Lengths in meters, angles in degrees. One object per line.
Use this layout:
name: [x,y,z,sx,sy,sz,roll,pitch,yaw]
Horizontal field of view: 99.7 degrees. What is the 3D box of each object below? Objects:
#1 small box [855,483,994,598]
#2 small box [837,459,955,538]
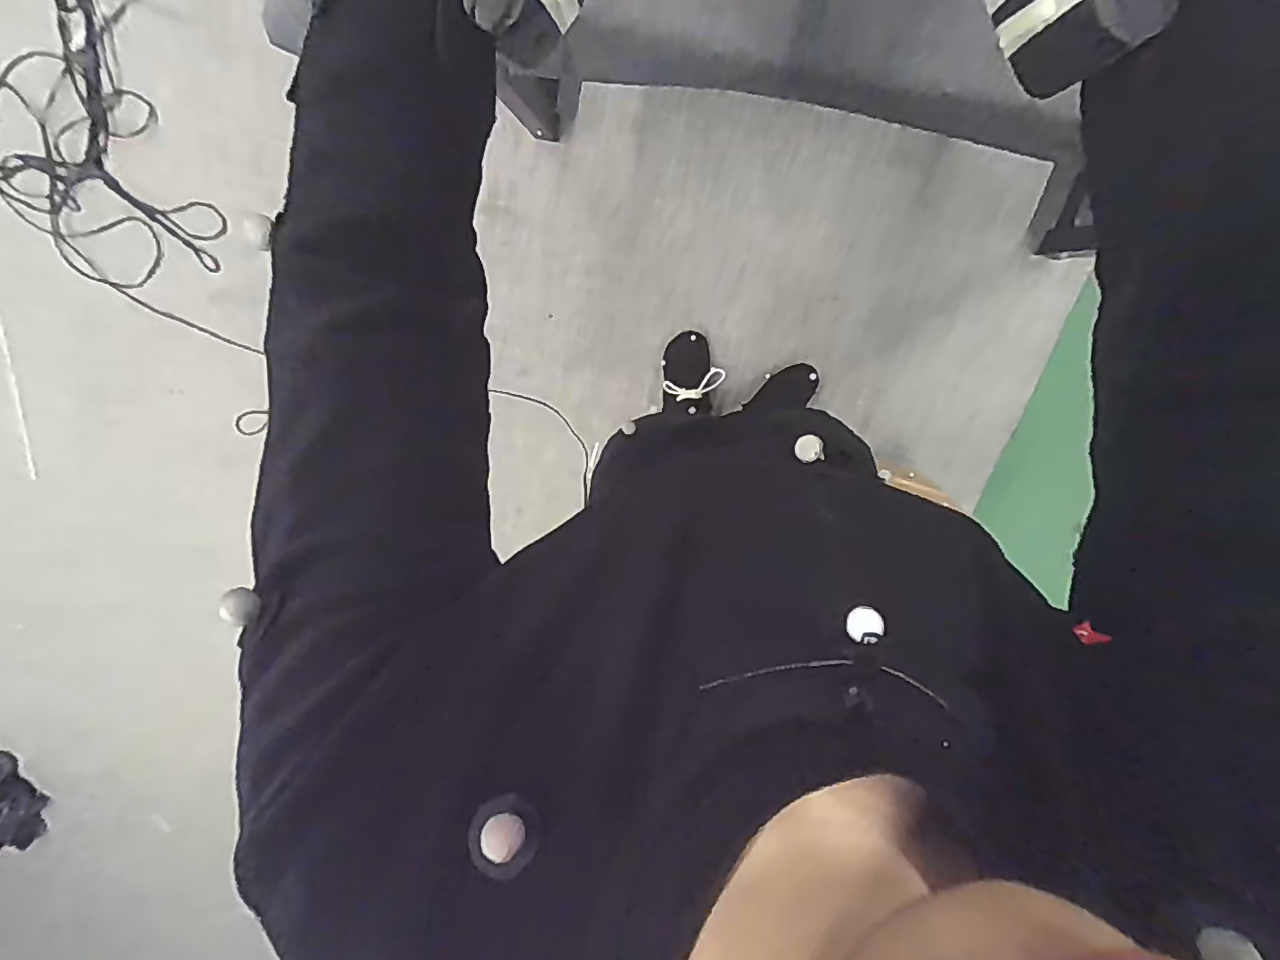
small box: [0.593,0.121,1.154,0.179,0.176,0.168,17,108,-2]
small box: [0.606,0.062,1.307,0.179,0.176,0.168,17,108,-1]
